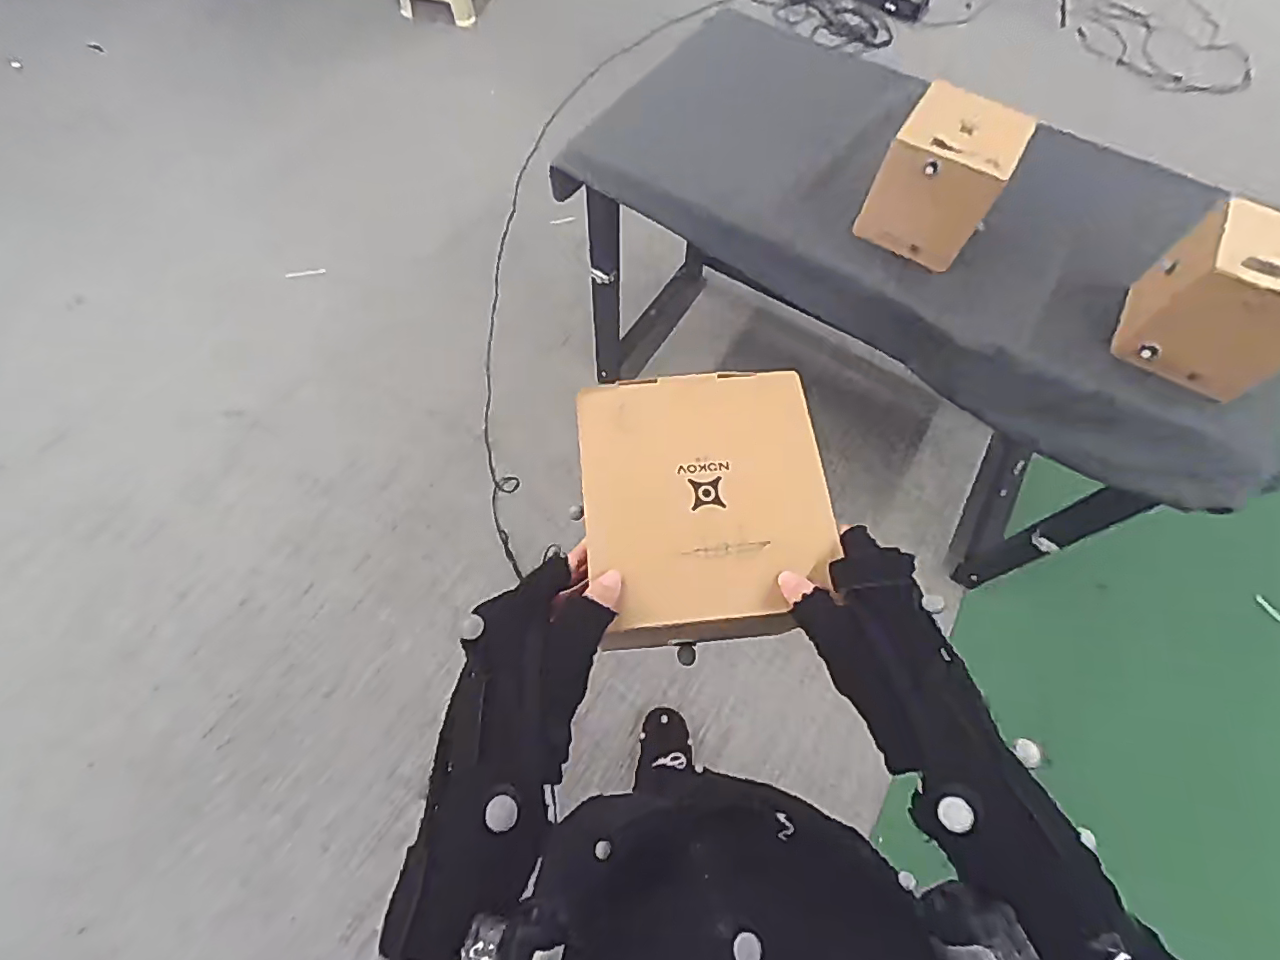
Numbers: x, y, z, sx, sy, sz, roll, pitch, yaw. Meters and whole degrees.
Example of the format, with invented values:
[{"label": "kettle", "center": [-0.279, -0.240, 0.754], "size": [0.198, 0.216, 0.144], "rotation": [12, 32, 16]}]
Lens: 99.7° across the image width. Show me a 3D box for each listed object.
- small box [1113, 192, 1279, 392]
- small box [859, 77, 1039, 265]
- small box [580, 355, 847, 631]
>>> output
[{"label": "small box", "center": [0.828, -0.257, 0.765], "size": [0.168, 0.176, 0.179], "rotation": [32, 66, 13]}, {"label": "small box", "center": [0.478, -0.485, 0.860], "size": [0.168, 0.176, 0.179], "rotation": [31, 67, 12]}, {"label": "small box", "center": [0.041, 0.021, 0.444], "size": [0.168, 0.176, 0.179], "rotation": [-6, 71, -3]}]
